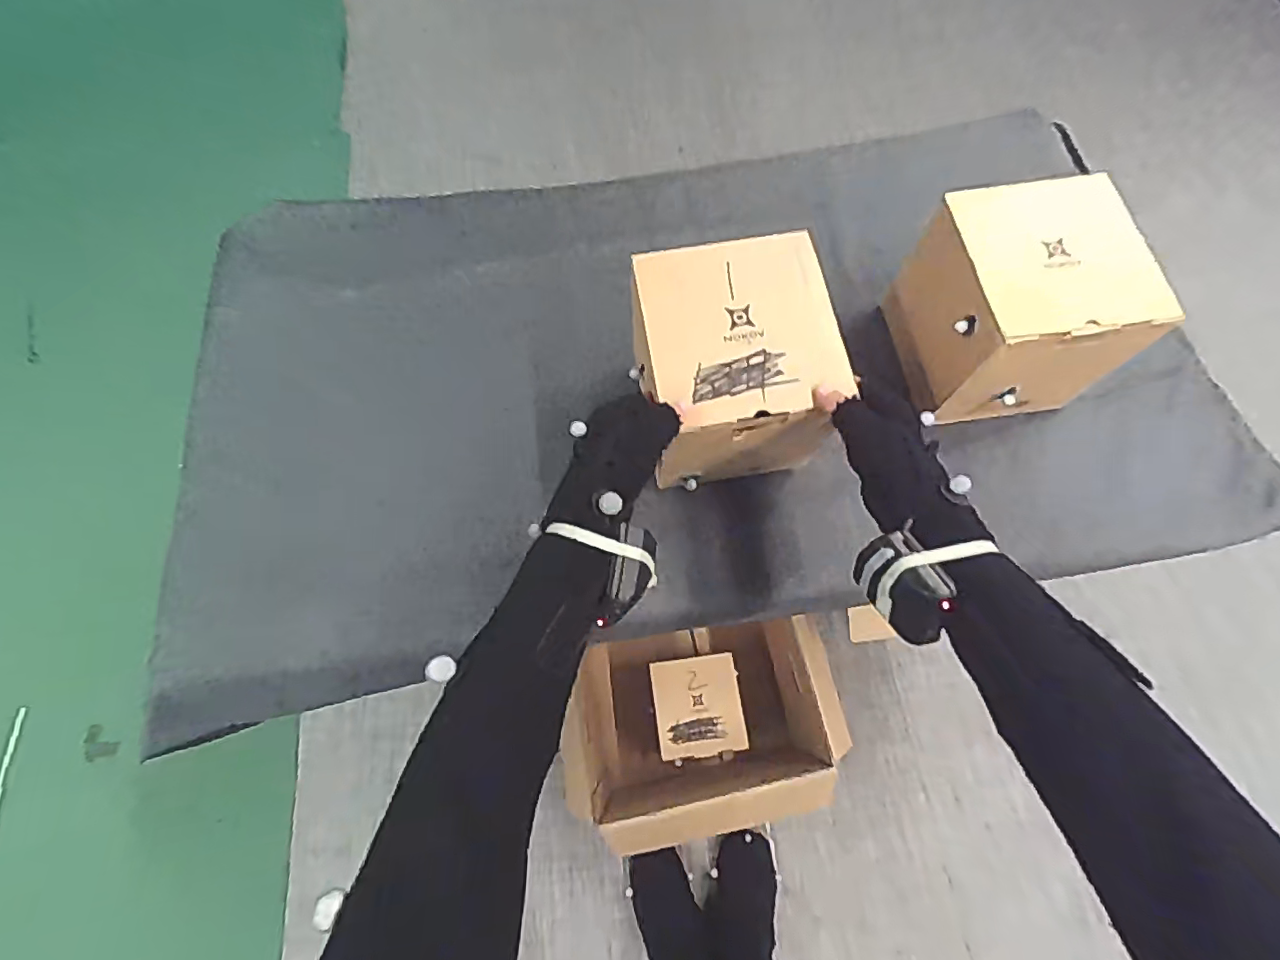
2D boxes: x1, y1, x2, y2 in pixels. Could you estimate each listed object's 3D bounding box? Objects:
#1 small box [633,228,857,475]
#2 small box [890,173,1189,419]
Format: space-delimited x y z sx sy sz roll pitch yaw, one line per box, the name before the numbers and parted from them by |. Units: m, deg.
small box | 0.088 -0.112 0.538 0.168 0.176 0.179 -9 73 -2
small box | 0.394 -0.185 0.576 0.168 0.176 0.179 -7 70 0
